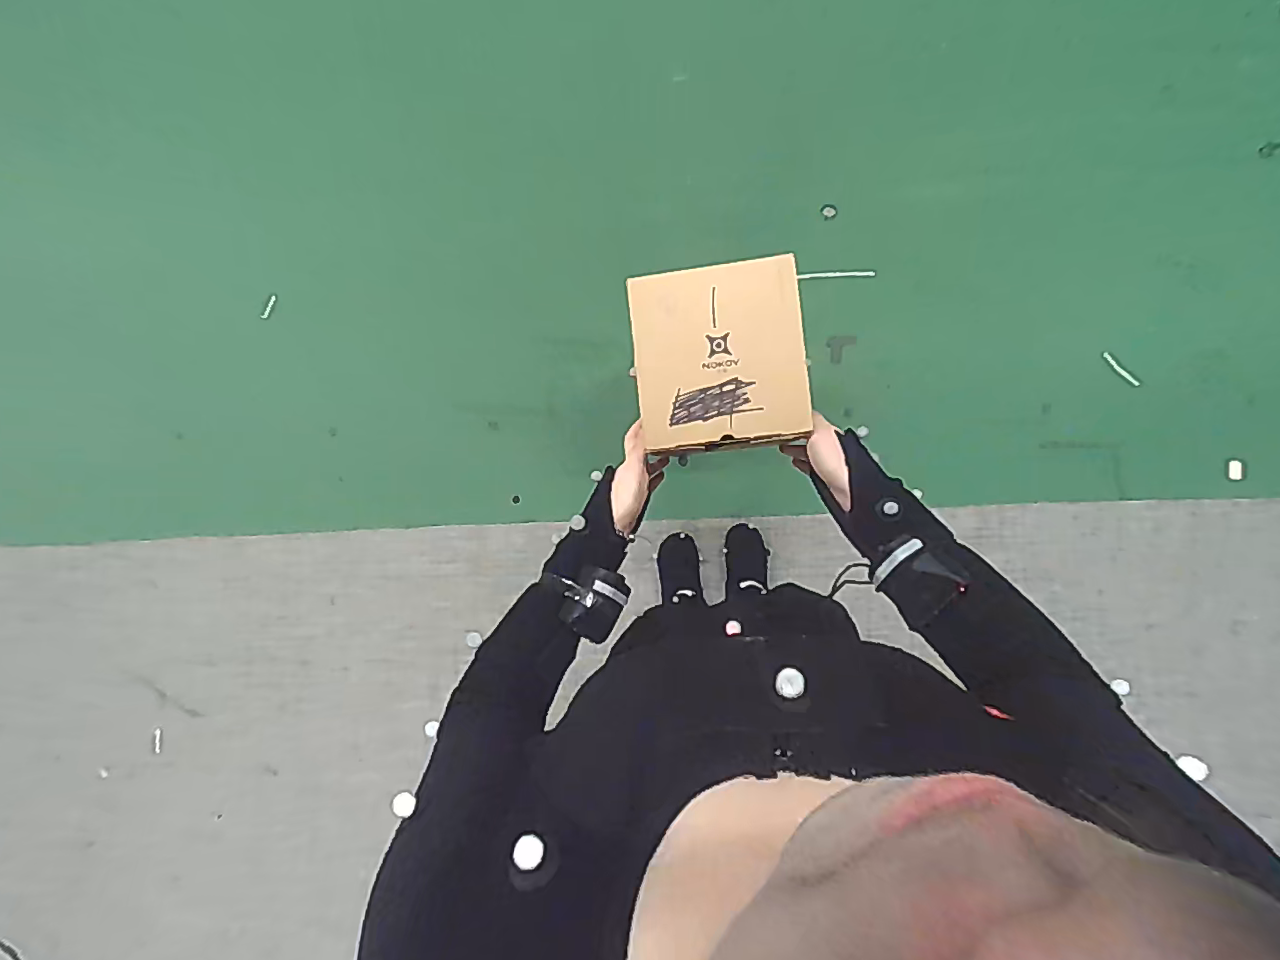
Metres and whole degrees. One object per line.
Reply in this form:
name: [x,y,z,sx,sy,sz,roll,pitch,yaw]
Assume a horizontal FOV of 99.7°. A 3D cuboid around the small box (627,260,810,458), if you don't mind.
small box: [0.085,-0.117,0.601,0.168,0.176,0.179,-6,89,7]
